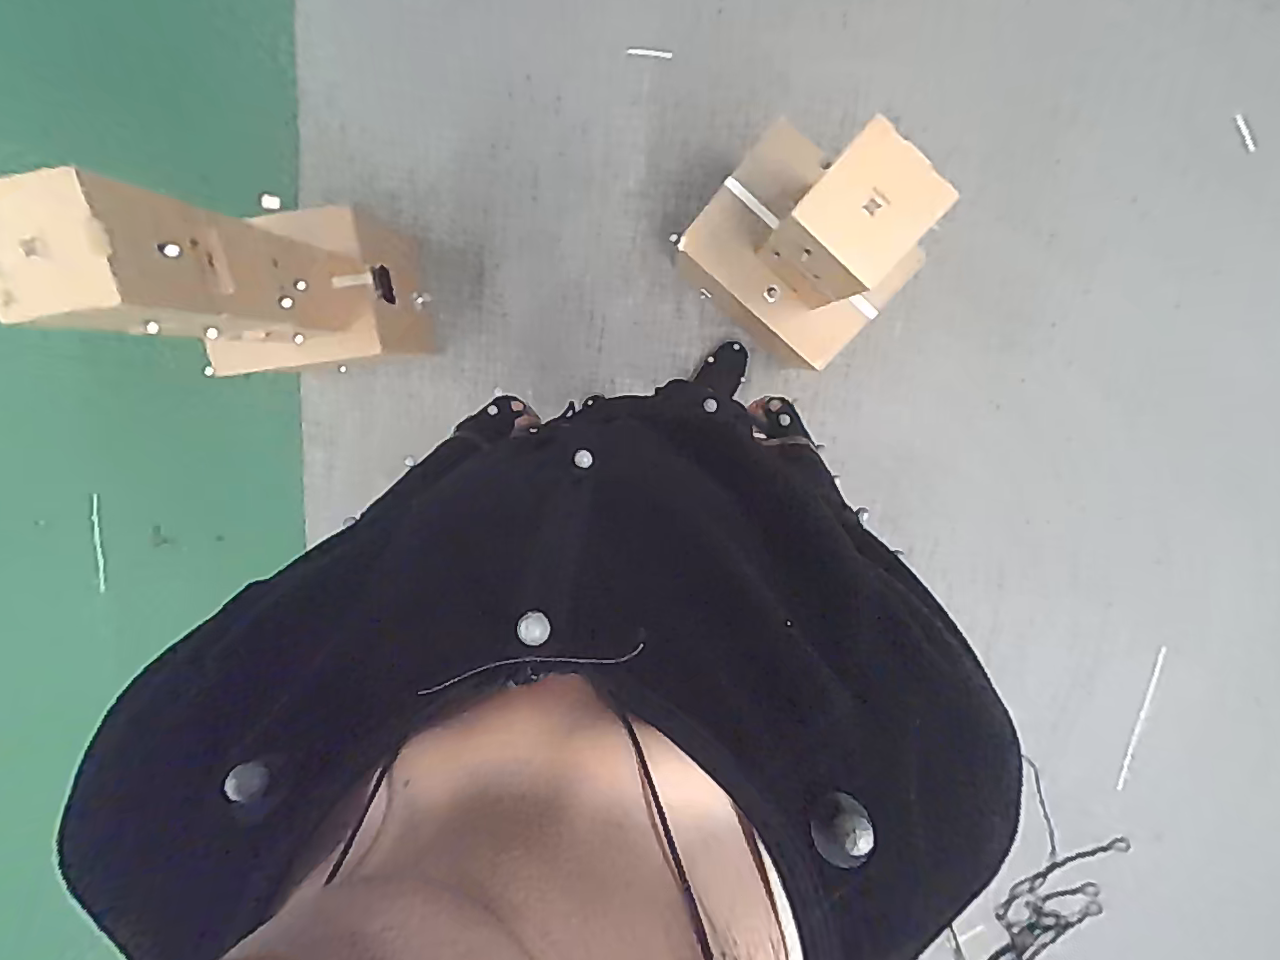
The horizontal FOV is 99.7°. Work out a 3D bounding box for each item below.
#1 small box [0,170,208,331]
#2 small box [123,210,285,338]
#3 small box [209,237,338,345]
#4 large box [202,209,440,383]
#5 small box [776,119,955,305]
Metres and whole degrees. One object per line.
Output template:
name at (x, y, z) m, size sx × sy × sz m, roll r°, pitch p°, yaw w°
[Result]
small box at (-0.750, -0.305, 0.750) m, size 0.179 × 0.176 × 0.168 m, roll -7°, pitch 101°, yaw 3°
small box at (-0.739, -0.336, 0.911) m, size 0.179 × 0.176 × 0.168 m, roll -7°, pitch 101°, yaw 4°
small box at (-0.735, -0.365, 1.072) m, size 0.168 × 0.176 × 0.179 m, roll -6°, pitch 101°, yaw 4°
large box at (-0.766, -0.421, 1.312) m, size 0.408 × 0.320 × 0.320 m, roll -7°, pitch 100°, yaw 6°
small box at (0.332, -0.398, 0.844) m, size 0.168 × 0.176 × 0.179 m, roll 41°, pitch 99°, yaw -5°
